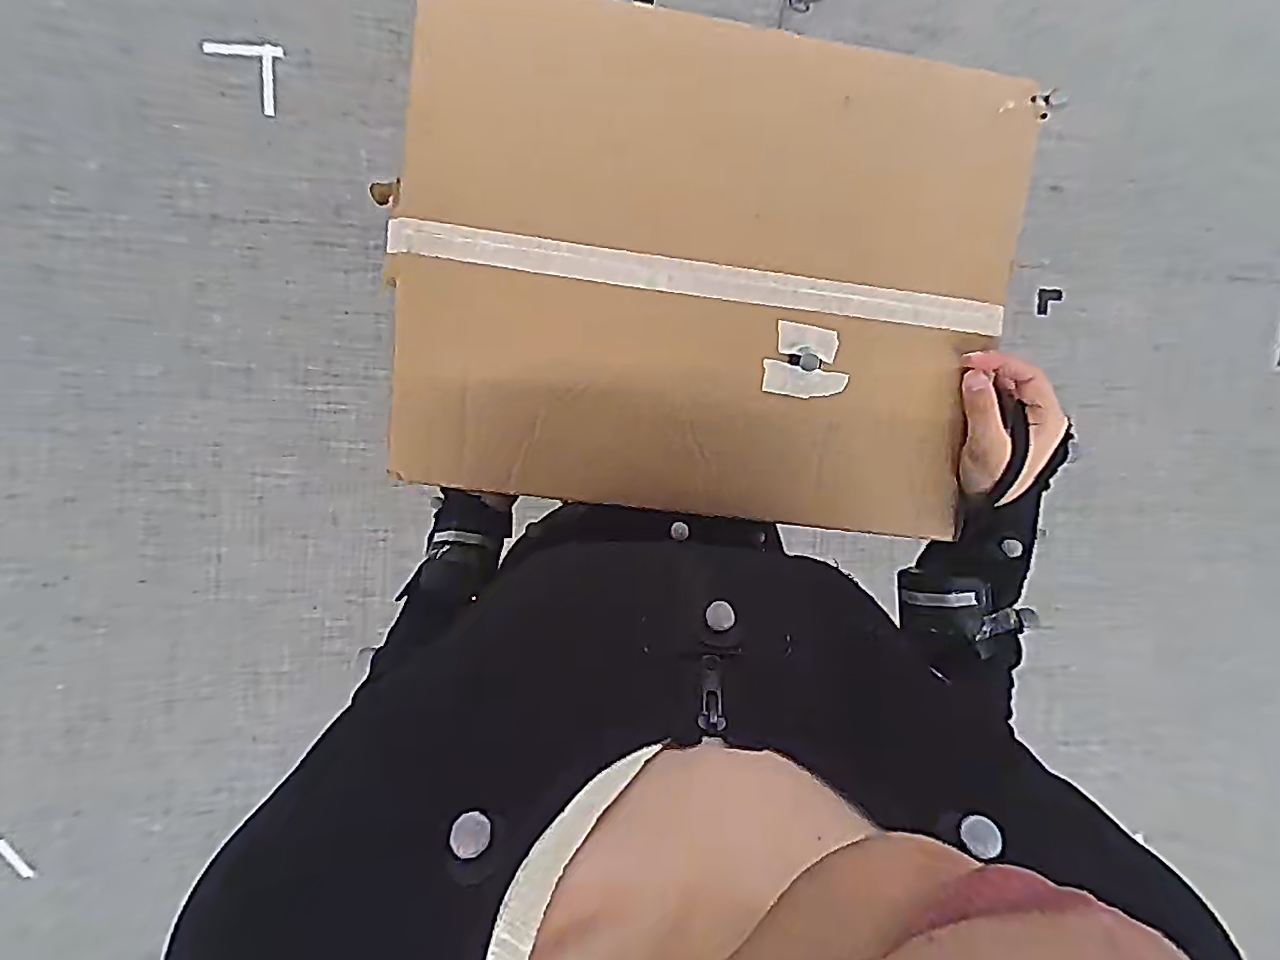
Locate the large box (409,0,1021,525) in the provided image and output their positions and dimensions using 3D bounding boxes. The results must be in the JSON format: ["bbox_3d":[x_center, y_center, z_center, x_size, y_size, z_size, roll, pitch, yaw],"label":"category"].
[{"bbox_3d":[0.037,-0.151,0.515,0.408,0.320,0.320,6,98,-6],"label":"large box"}]
